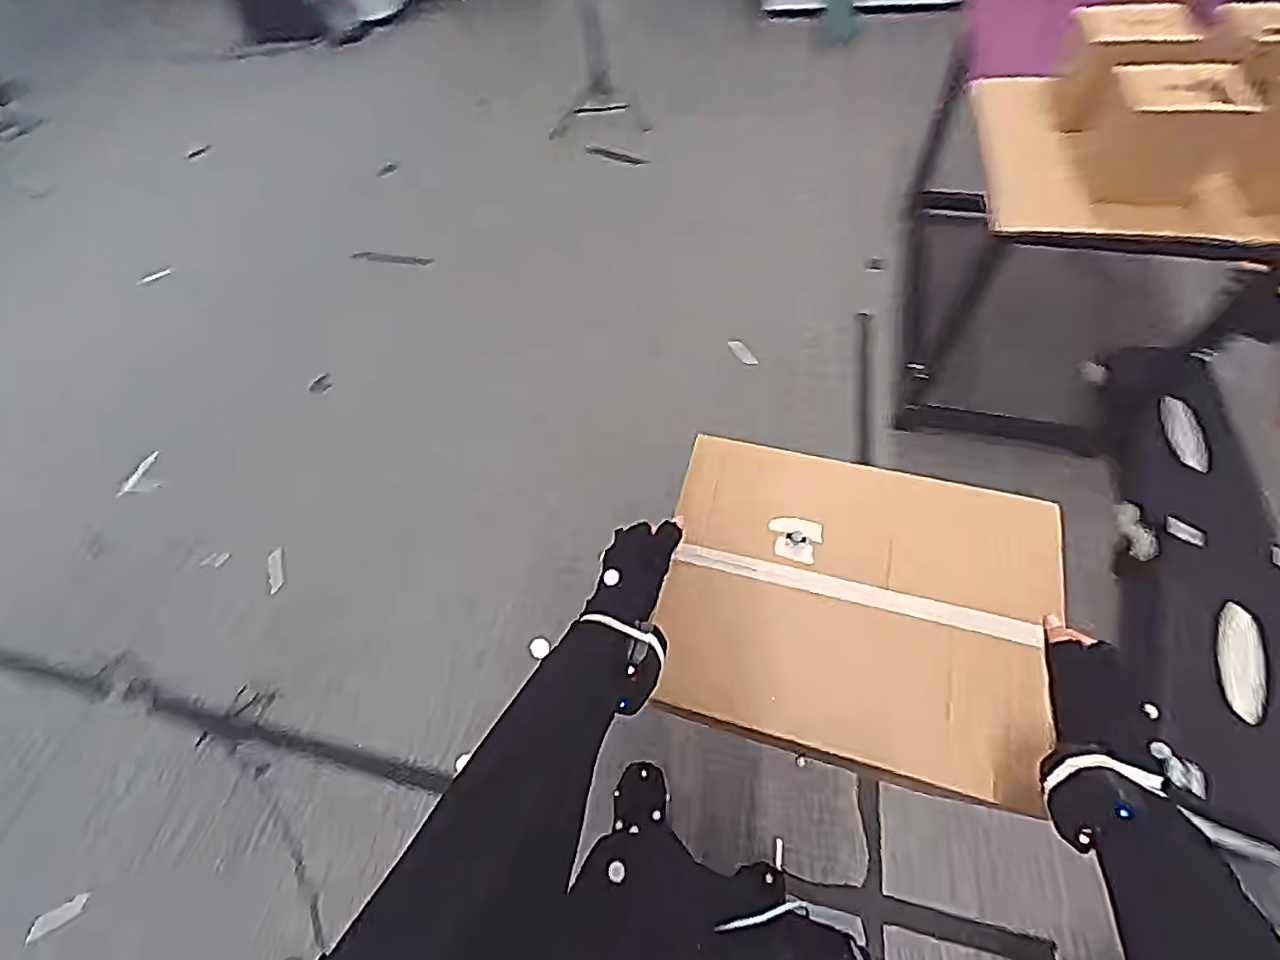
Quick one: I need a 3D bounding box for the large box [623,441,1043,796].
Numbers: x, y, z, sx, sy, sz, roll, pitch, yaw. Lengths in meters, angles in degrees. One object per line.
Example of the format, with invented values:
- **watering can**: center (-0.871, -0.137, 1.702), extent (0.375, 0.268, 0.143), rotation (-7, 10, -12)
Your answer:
- **large box**: center (0.228, 0.181, 0.717), extent (0.408, 0.320, 0.320), rotation (11, 65, 13)
